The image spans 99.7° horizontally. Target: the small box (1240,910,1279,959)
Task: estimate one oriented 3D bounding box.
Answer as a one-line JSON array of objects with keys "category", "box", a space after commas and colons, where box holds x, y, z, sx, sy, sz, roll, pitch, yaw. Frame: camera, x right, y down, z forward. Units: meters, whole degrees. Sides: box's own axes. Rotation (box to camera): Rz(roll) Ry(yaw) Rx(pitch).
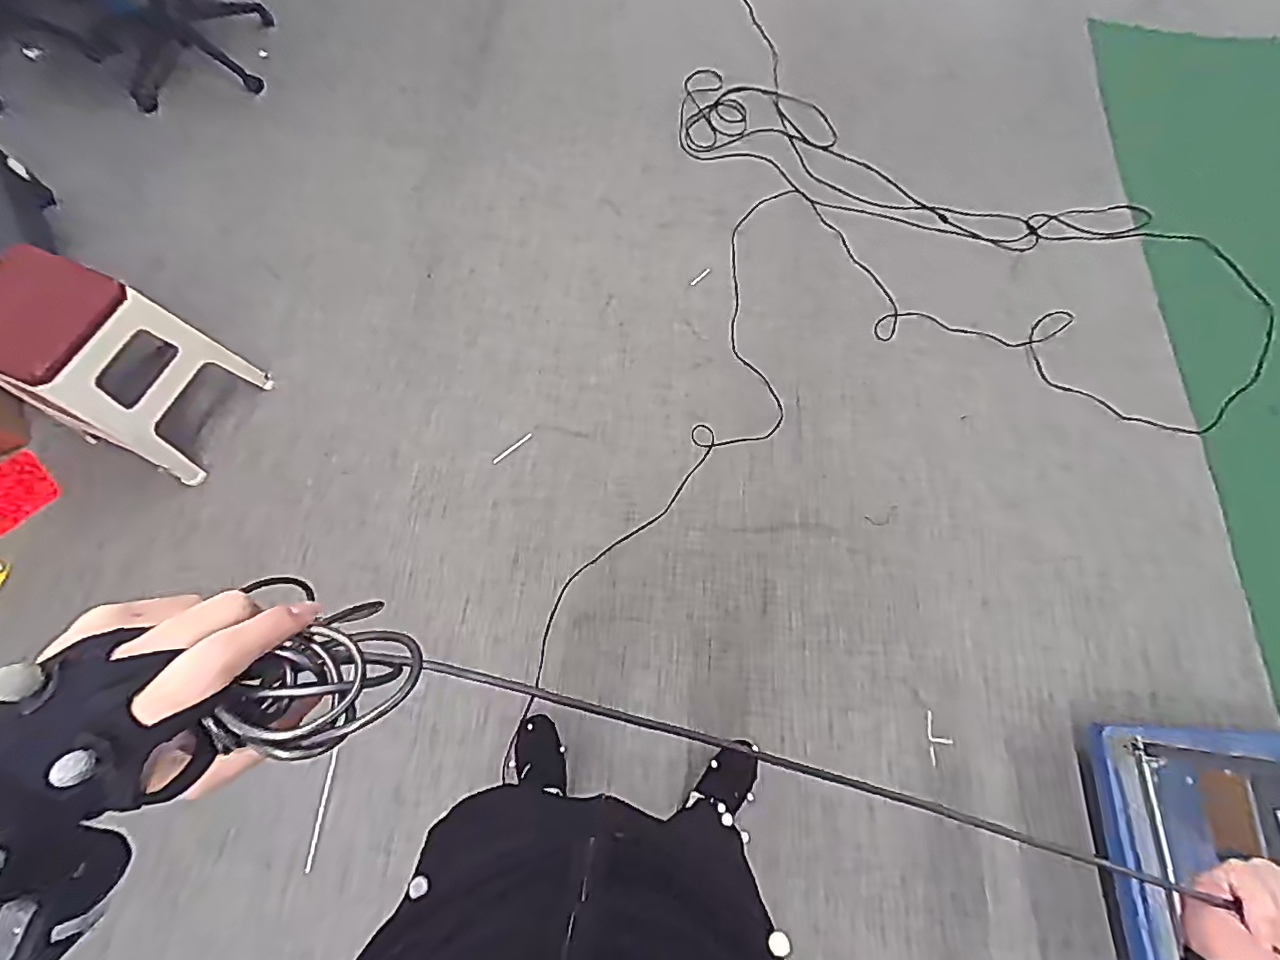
[{"category": "small box", "box": [1.374, 0.983, 1.067, 0.179, 0.176, 0.168, 5, 70, 0]}]
